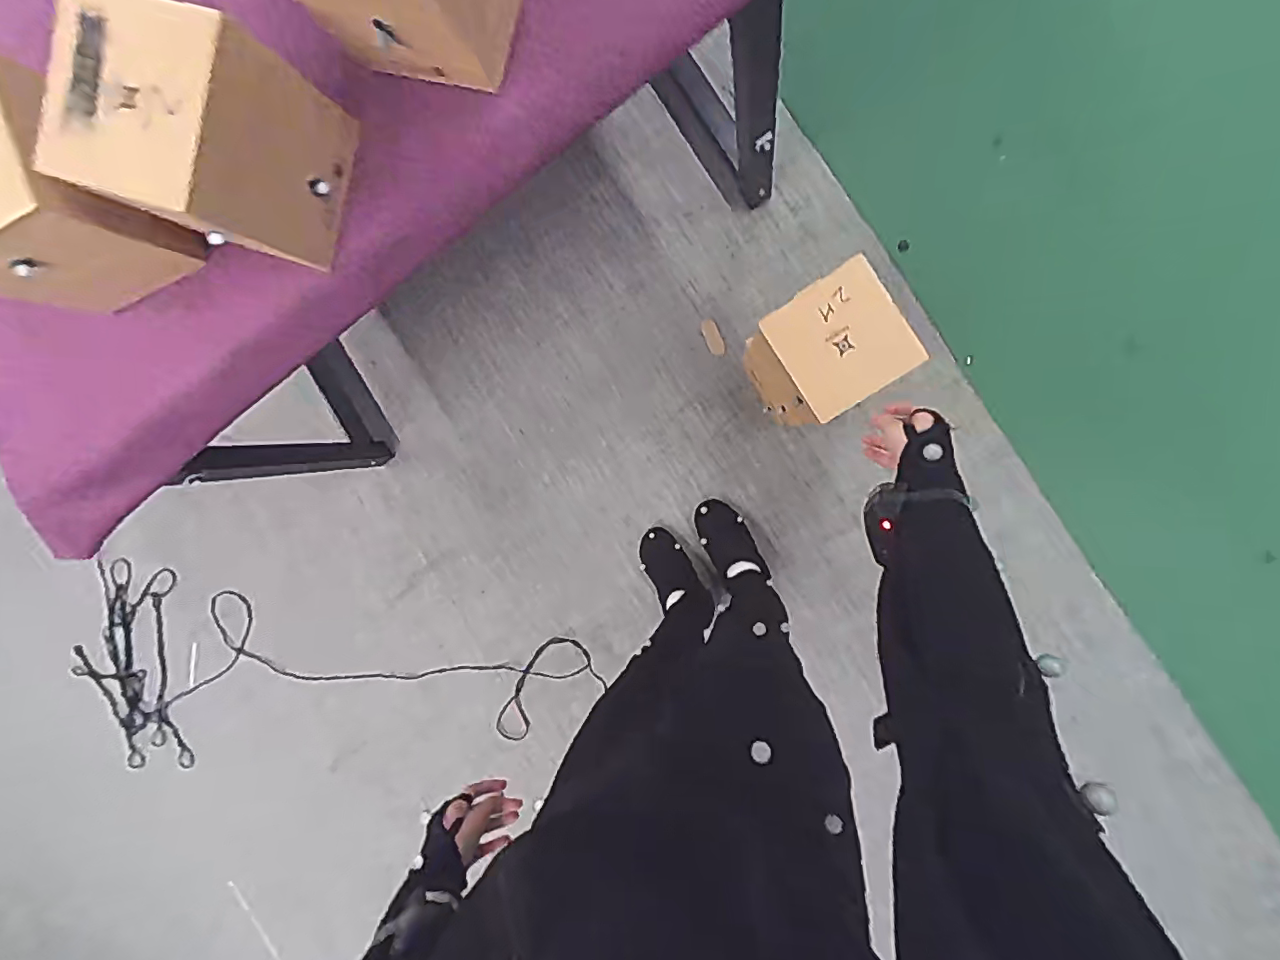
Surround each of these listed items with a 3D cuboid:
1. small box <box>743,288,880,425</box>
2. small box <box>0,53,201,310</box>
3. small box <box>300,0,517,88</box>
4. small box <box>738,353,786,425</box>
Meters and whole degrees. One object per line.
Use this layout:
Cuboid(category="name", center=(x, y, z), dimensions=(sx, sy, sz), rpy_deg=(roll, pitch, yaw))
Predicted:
Cuboid(category="small box", center=(0.301, -0.213, 0.990), dimensions=(0.168, 0.176, 0.179), rpy_deg=(-33, 89, 12))
Cuboid(category="small box", center=(-0.645, -0.306, 0.592), dimensions=(0.179, 0.176, 0.168), rpy_deg=(-18, 91, 12))
Cuboid(category="small box", center=(-0.217, -0.500, 0.488), dimensions=(0.168, 0.176, 0.179), rpy_deg=(18, 98, 10))
Cuboid(category="small box", center=(0.326, -0.226, 1.149), dimensions=(0.179, 0.176, 0.168), rpy_deg=(-30, 89, 12))
